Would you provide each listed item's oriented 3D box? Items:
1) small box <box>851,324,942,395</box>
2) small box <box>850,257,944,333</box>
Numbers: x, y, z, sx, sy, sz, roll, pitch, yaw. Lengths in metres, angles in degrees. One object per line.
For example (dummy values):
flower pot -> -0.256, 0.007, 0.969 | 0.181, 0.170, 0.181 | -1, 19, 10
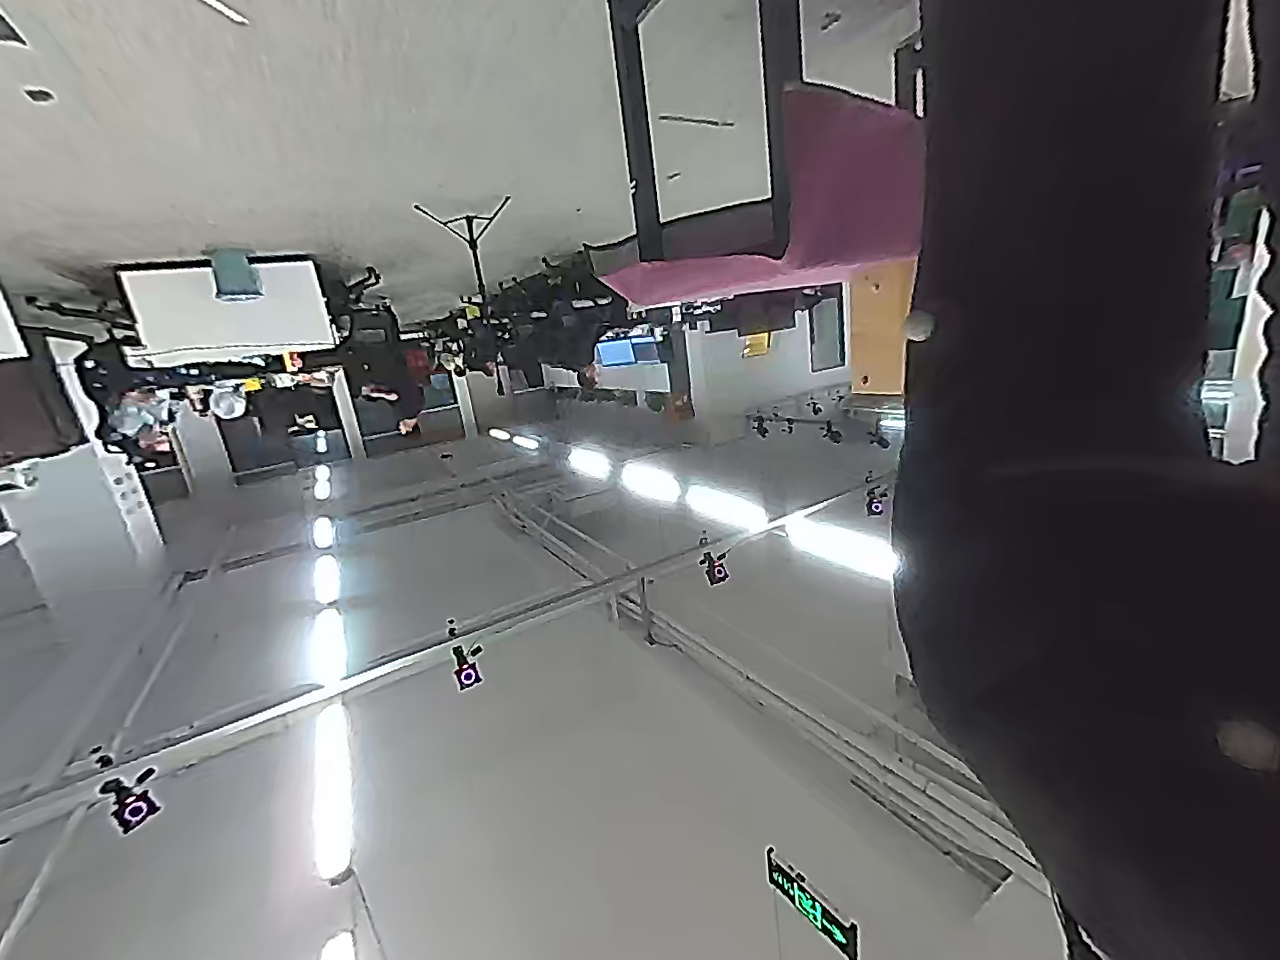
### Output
small box -> 0.704, -0.335, 1.485 | 0.168, 0.176, 0.179 | -17, -162, -29
small box -> 0.683, -0.491, 1.437 | 0.179, 0.176, 0.168 | -14, -164, -24
